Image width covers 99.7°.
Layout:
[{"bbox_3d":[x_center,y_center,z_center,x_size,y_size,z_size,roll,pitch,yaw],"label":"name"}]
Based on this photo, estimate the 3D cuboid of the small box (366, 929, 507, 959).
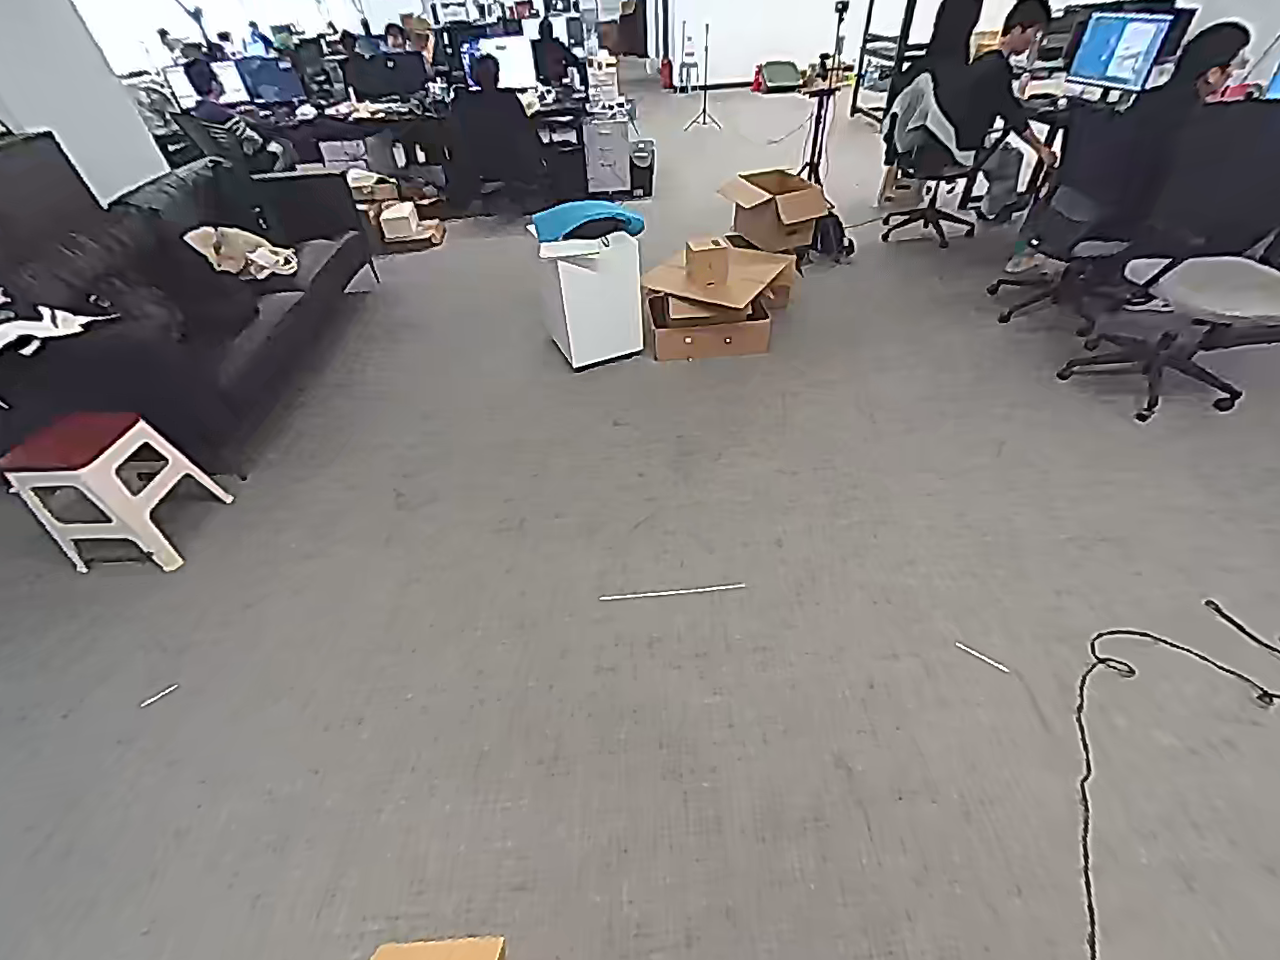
[{"bbox_3d":[-0.255,0.668,0.619,0.168,0.179,0.176,-3,87,1],"label":"small box"}]
